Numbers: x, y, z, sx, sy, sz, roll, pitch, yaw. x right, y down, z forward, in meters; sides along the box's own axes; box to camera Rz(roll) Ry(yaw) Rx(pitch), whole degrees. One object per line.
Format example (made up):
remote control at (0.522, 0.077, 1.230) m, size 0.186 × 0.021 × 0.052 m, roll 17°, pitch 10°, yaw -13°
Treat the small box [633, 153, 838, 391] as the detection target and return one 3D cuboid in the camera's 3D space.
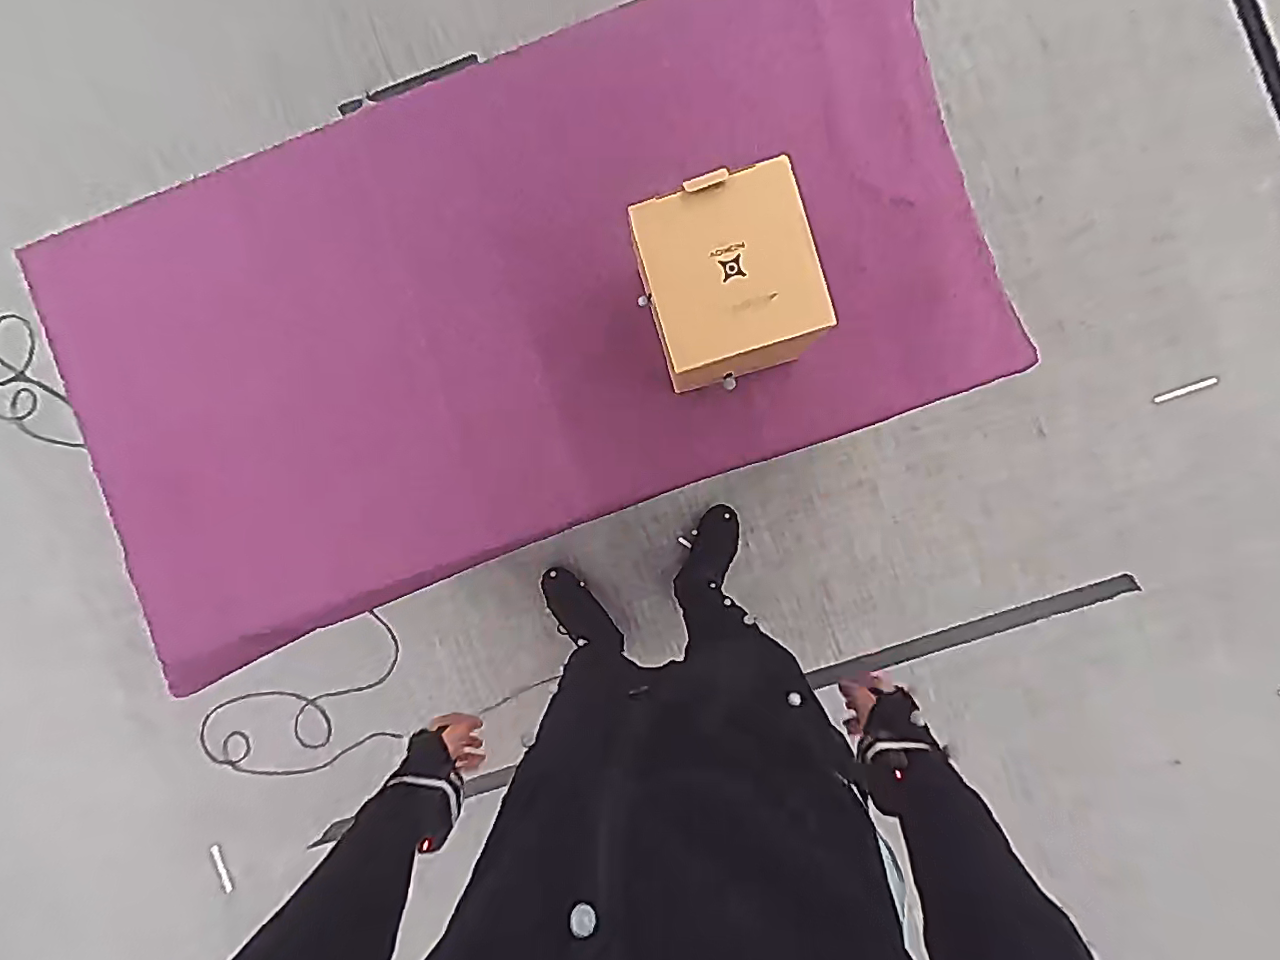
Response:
small box at (0.096, -0.213, 0.603) m, size 0.168 × 0.176 × 0.179 m, roll -15°, pitch 90°, yaw 5°
